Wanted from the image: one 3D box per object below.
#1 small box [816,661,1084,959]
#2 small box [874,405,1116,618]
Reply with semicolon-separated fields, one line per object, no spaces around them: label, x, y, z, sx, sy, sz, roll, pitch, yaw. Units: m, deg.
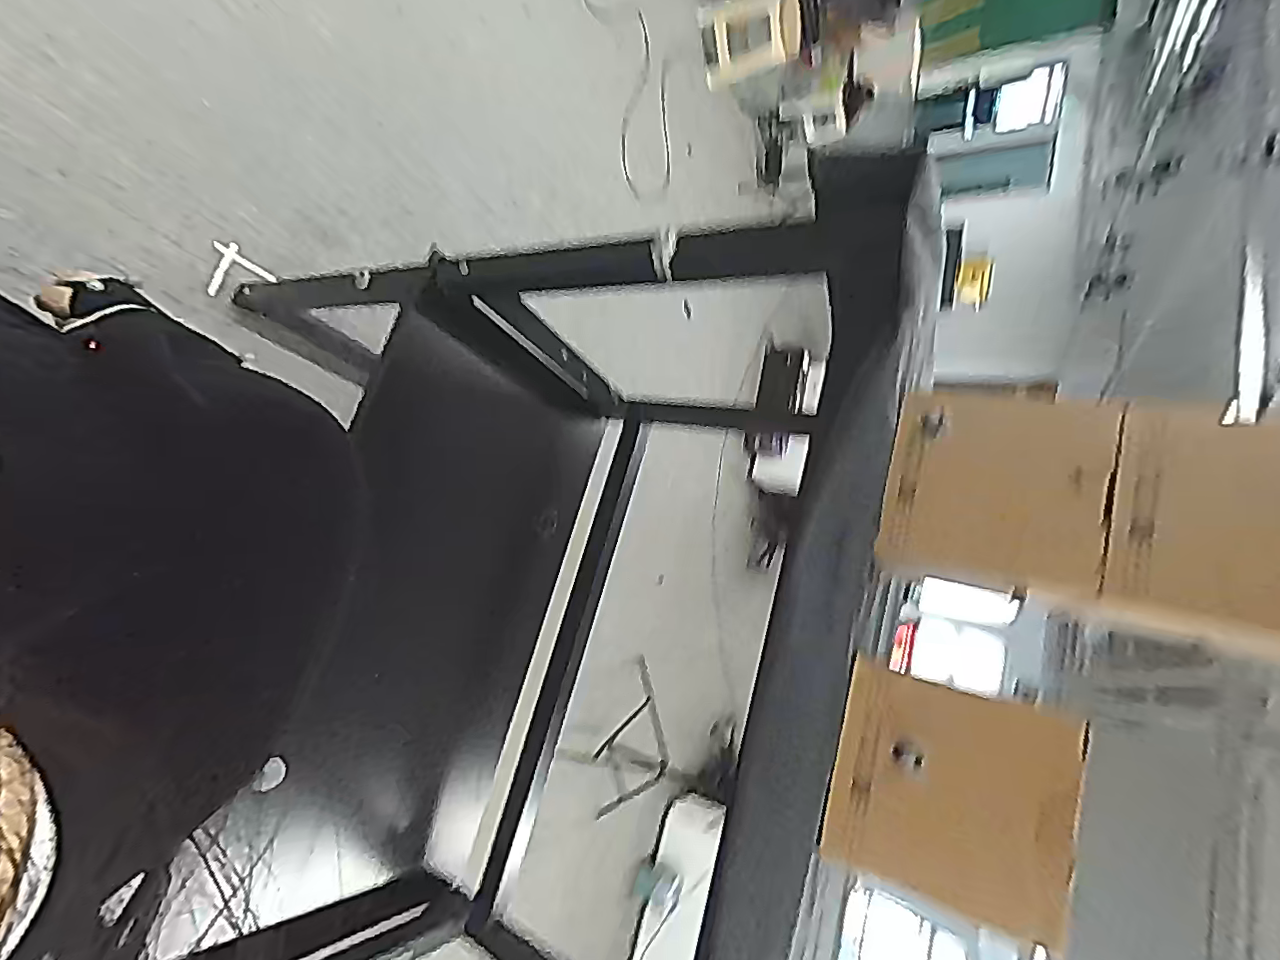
small box;0.272;0.273;0.497;0.179;0.176;0.168;37;66;-58
small box;0.341;0.032;0.547;0.179;0.176;0.168;34;70;-60
